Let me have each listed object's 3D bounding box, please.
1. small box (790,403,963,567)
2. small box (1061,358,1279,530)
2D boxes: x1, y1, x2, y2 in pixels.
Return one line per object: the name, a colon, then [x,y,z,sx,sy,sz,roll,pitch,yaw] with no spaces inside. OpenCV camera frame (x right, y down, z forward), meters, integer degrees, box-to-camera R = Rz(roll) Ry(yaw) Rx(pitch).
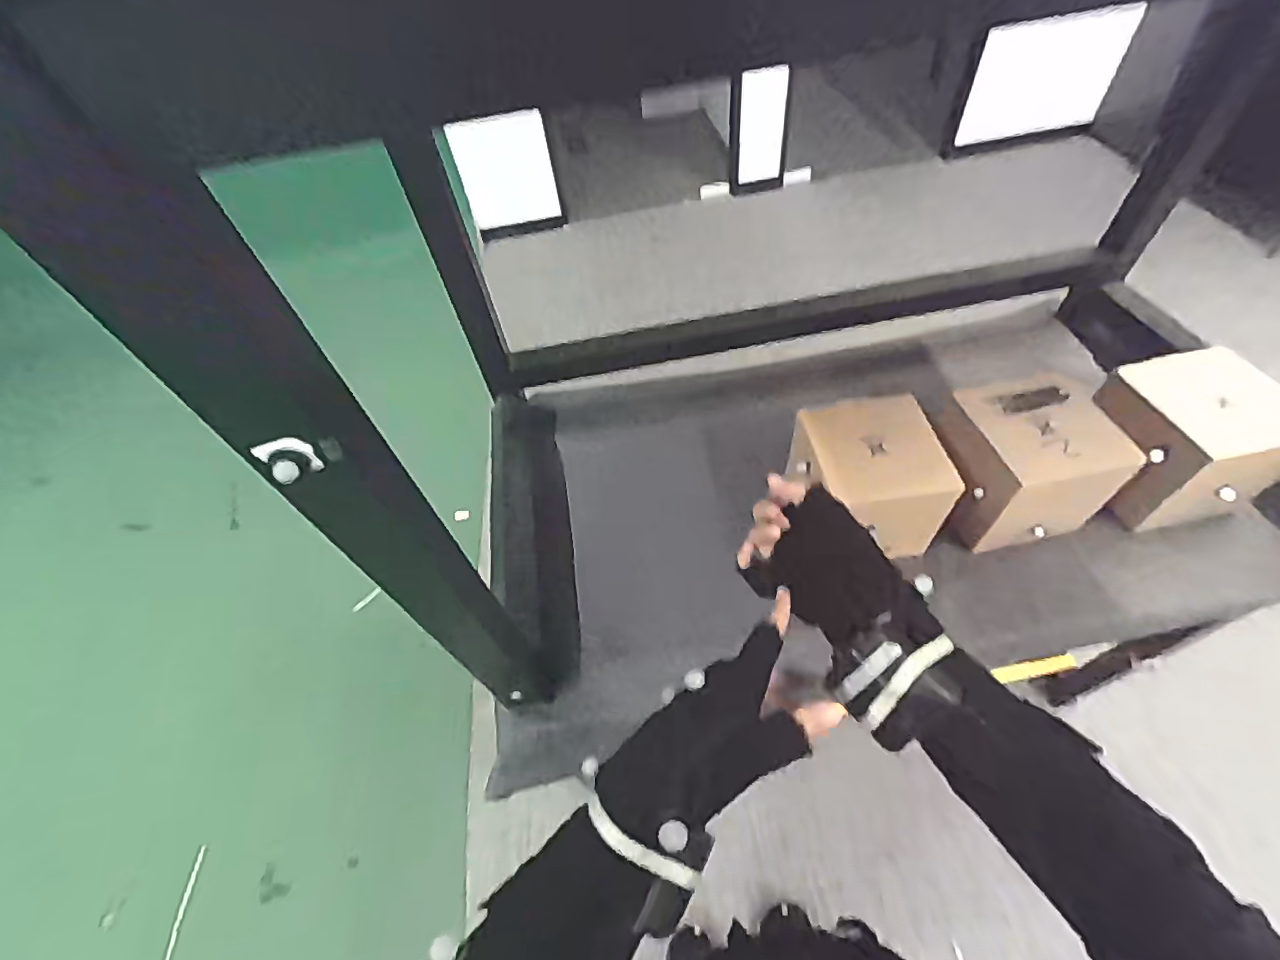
small box: [0.329,0.016,0.794,0.168,0.176,0.179,-8,51,1]
small box: [0.773,-0.044,0.779,0.168,0.176,0.179,-12,51,-3]
